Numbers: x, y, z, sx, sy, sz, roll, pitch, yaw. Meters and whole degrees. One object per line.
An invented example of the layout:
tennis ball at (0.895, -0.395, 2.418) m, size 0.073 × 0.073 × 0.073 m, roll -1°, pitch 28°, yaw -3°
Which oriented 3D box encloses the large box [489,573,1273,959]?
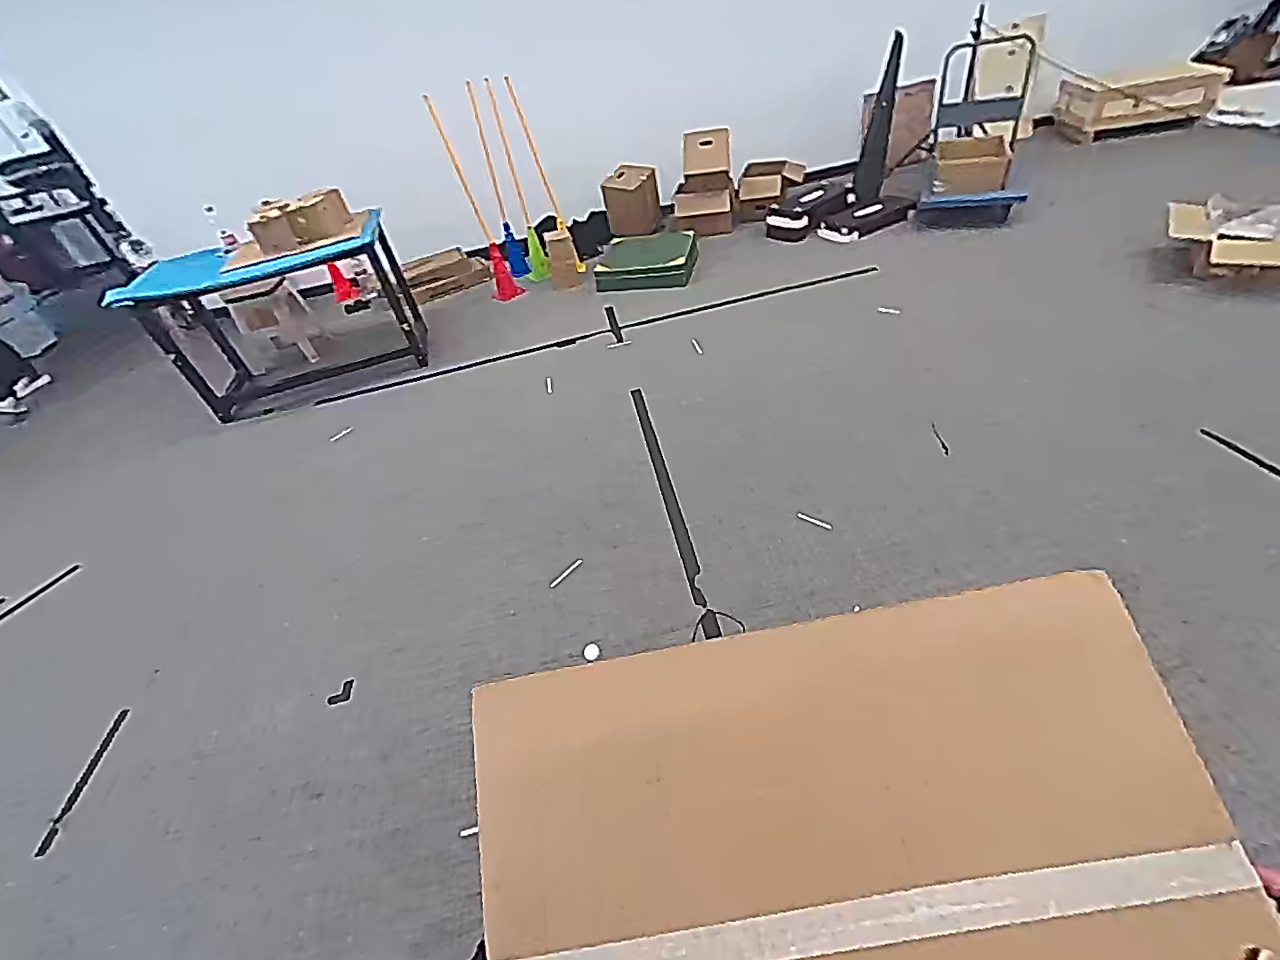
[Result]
large box at (0.136, 0.293, 0.440) m, size 0.408 × 0.320 × 0.320 m, roll -13°, pitch 70°, yaw 4°
